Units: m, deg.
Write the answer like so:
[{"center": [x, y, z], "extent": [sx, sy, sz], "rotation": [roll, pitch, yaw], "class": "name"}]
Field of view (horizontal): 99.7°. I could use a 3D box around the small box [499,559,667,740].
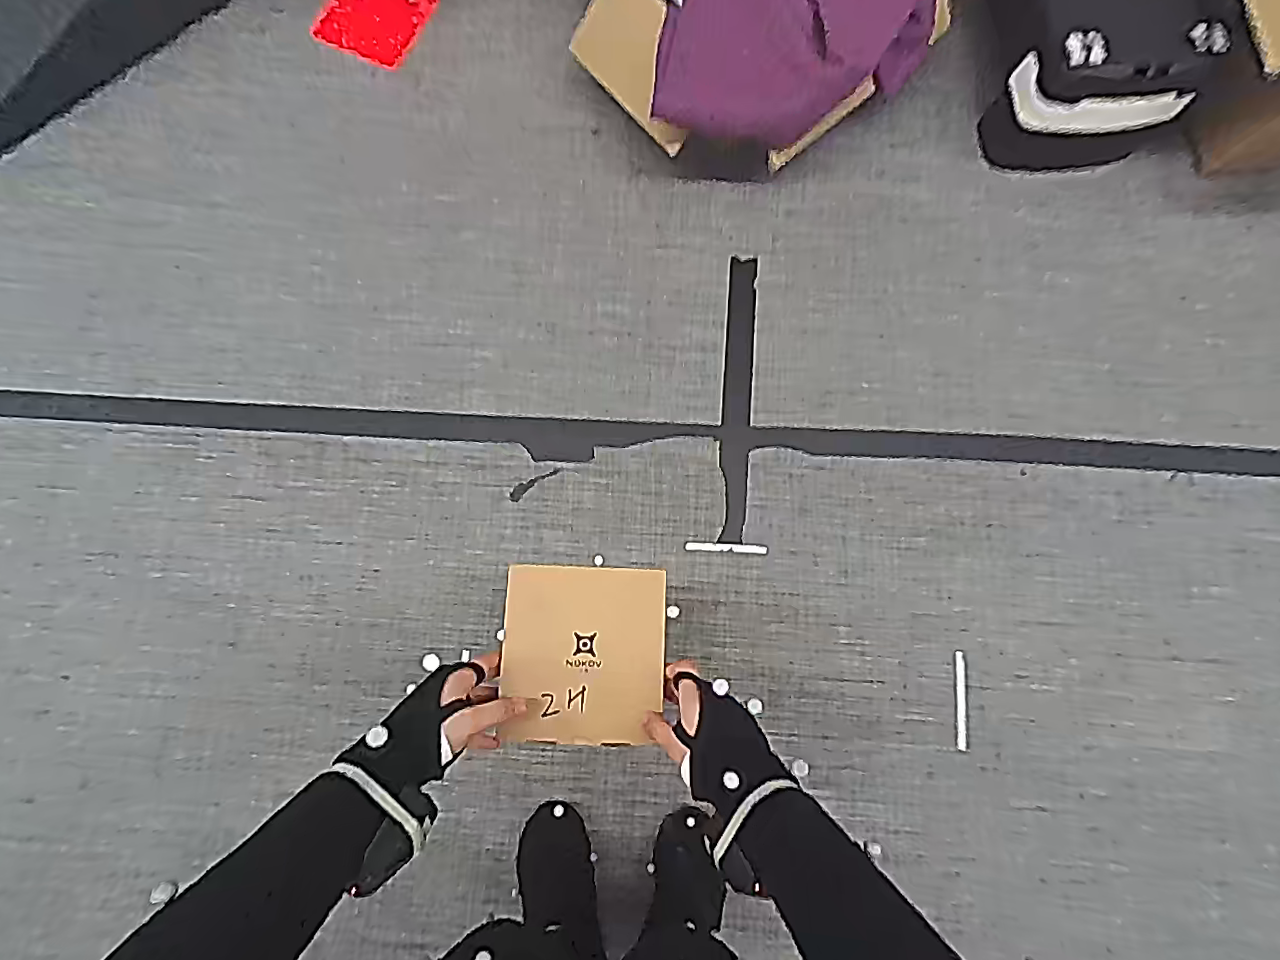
[{"center": [-0.058, 0.189, 0.638], "extent": [0.168, 0.176, 0.179], "rotation": [2, 80, 0], "class": "small box"}]
